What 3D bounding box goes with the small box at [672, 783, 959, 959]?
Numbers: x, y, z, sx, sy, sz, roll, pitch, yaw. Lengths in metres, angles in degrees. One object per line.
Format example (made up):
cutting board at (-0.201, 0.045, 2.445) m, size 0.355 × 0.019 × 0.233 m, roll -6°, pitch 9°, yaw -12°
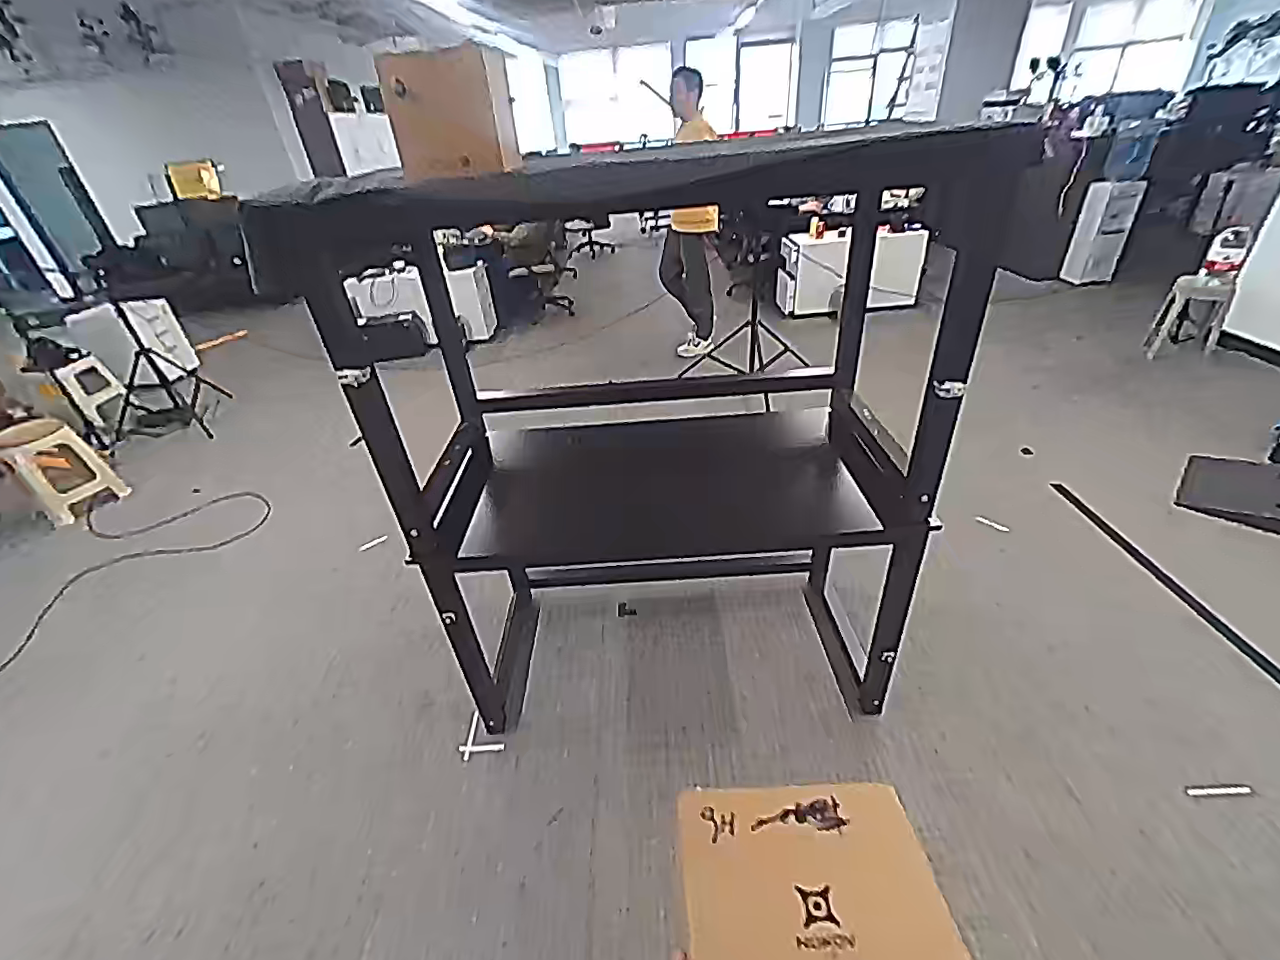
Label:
small box at (0.110, 0.347, 0.379) m, size 0.168 × 0.176 × 0.179 m, roll -1°, pitch 30°, yaw -1°
